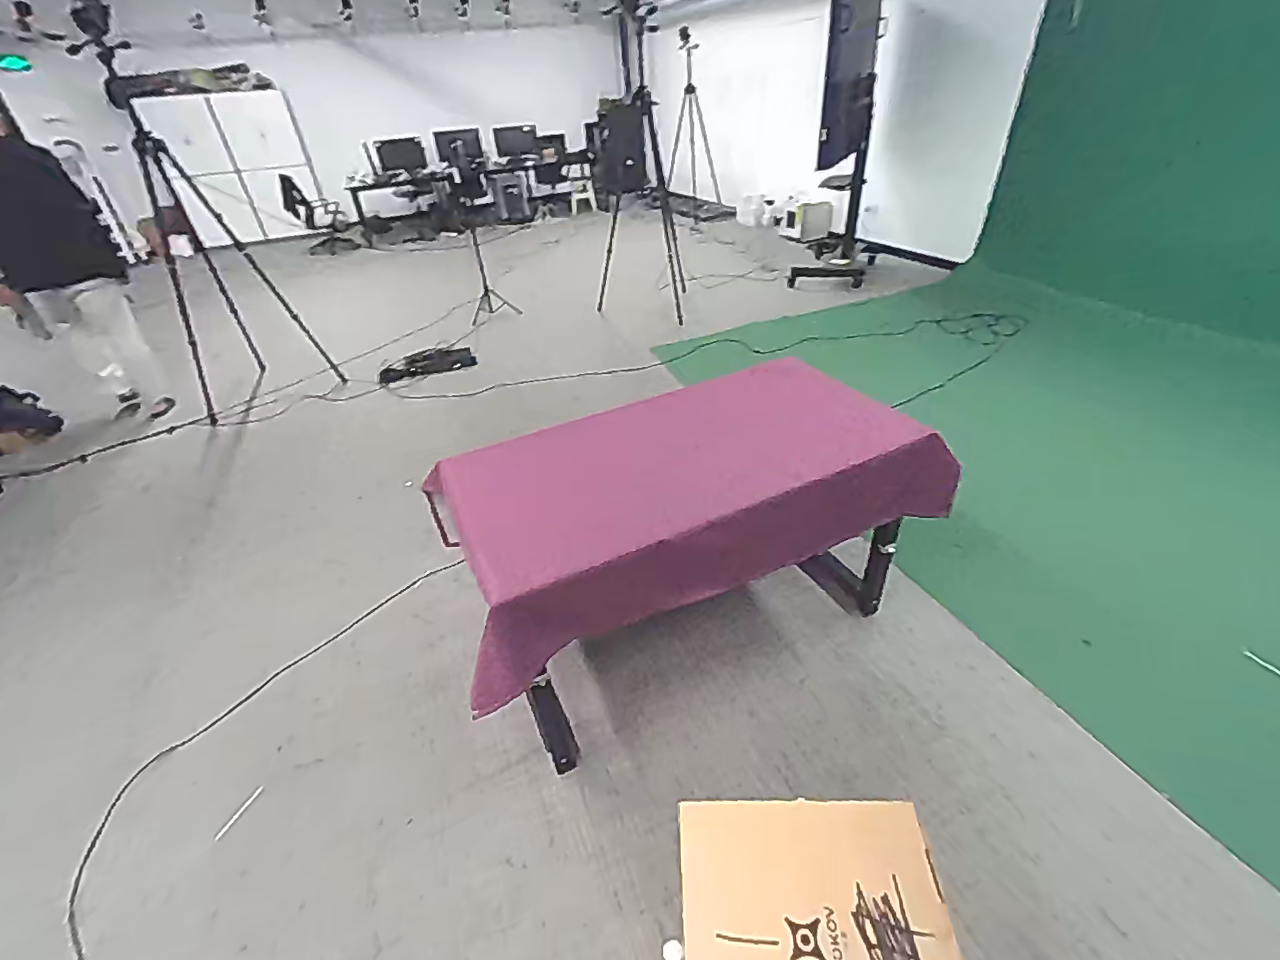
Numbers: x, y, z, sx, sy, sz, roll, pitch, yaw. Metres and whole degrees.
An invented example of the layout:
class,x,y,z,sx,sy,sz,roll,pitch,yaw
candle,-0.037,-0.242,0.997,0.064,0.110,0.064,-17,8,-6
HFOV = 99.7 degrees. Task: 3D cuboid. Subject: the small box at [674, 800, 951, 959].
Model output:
class,x,y,z,sx,sy,sz,roll,pitch,yaw
small box,0.115,0.357,0.405,0.179,0.176,0.168,-3,43,3
